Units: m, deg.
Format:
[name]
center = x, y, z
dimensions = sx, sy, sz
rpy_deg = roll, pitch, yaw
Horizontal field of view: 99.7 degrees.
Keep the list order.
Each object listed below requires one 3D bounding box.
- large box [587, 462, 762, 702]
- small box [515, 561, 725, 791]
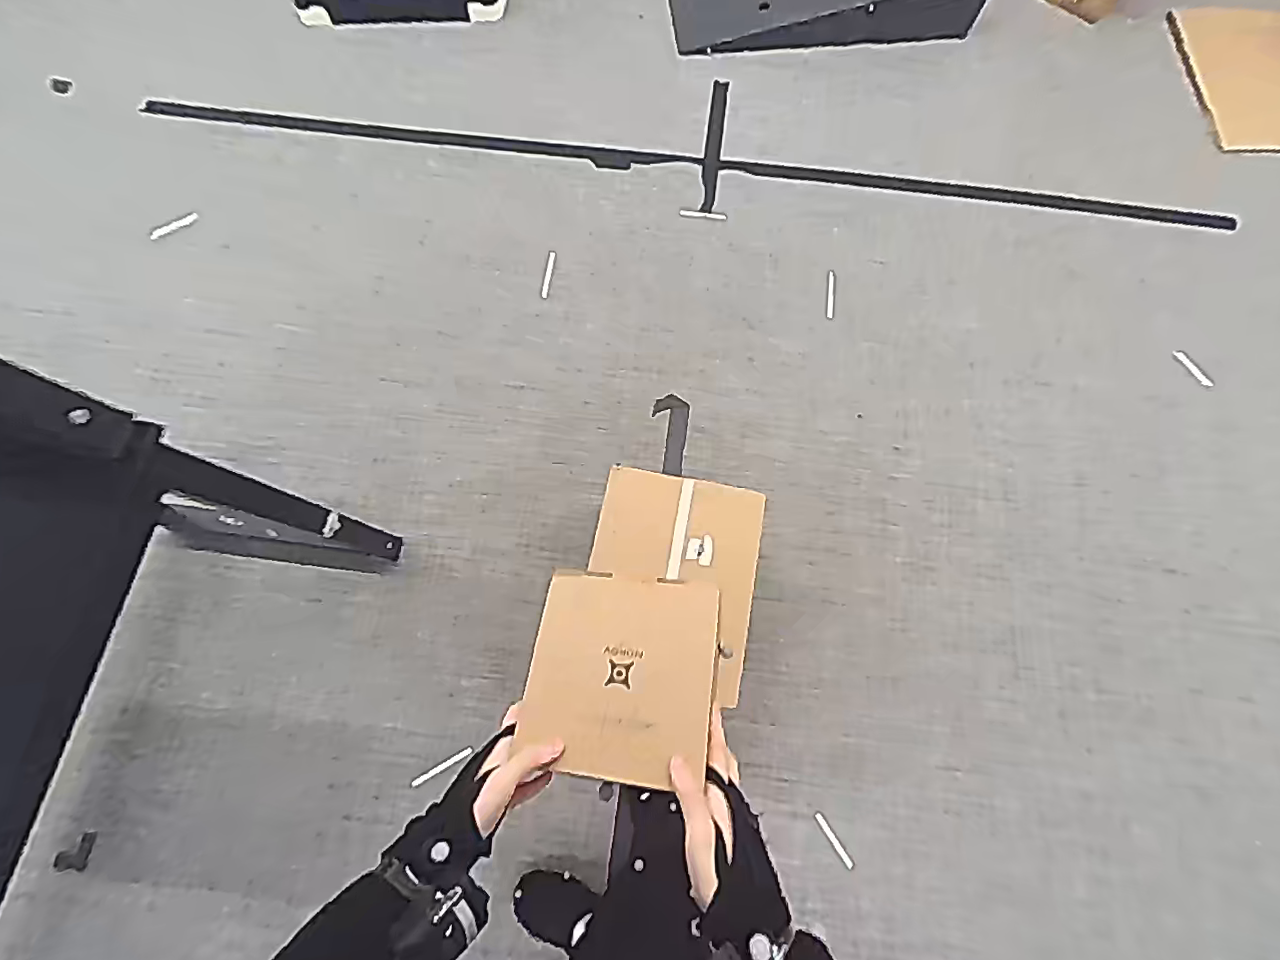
[large box]
center = 0.051, 0.221, 1.148
dimensions = 0.320, 0.320, 0.408
rpy_deg = 12, 73, 1
[small box]
center = -0.004, 0.202, 0.551
dimensions = 0.168, 0.176, 0.179
rpy_deg = 4, 60, 11
